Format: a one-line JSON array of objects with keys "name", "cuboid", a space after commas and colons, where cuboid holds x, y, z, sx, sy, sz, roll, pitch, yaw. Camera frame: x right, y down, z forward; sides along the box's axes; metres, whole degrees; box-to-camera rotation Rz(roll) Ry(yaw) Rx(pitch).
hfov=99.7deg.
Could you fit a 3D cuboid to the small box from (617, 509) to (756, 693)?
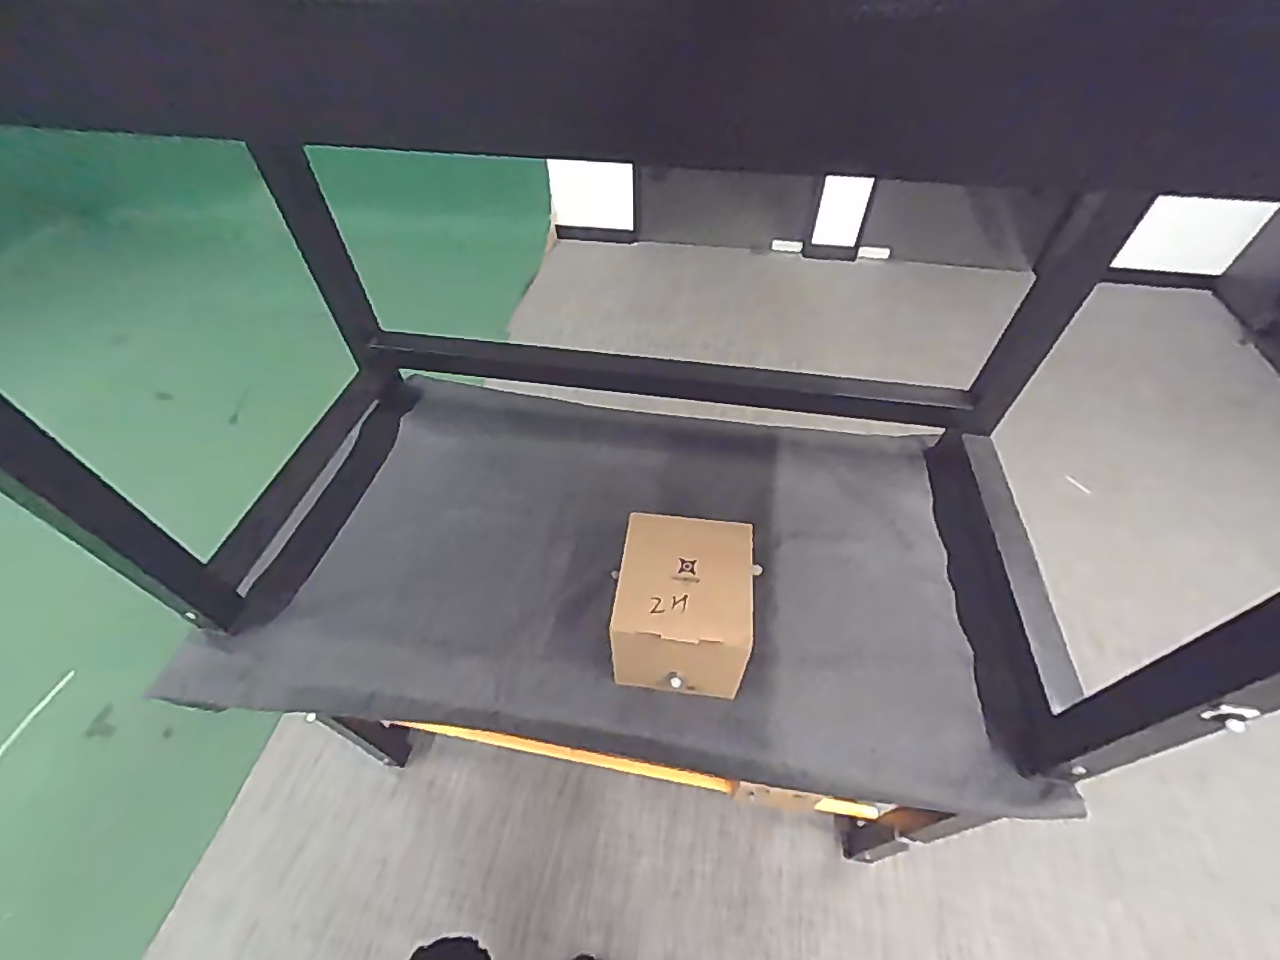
[{"name": "small box", "cuboid": [0.064, 0.166, 0.740, 0.168, 0.176, 0.179, 5, 49, 6]}]
